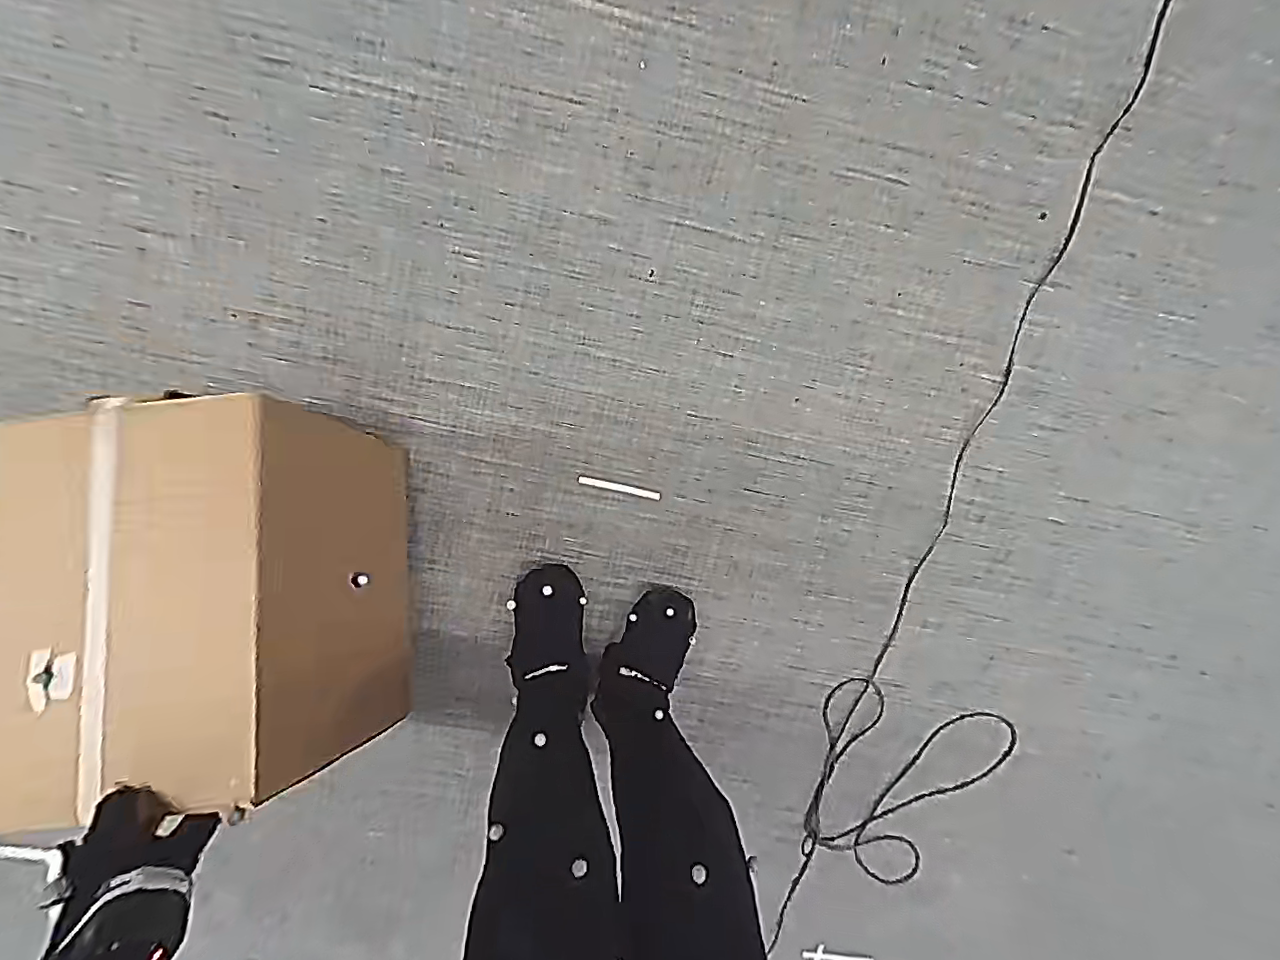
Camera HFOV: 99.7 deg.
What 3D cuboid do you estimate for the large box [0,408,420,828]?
[{"bbox_3d":[-0.520,0.152,0.708,0.320,0.320,0.408,-8,84,5],"label":"large box"}]
